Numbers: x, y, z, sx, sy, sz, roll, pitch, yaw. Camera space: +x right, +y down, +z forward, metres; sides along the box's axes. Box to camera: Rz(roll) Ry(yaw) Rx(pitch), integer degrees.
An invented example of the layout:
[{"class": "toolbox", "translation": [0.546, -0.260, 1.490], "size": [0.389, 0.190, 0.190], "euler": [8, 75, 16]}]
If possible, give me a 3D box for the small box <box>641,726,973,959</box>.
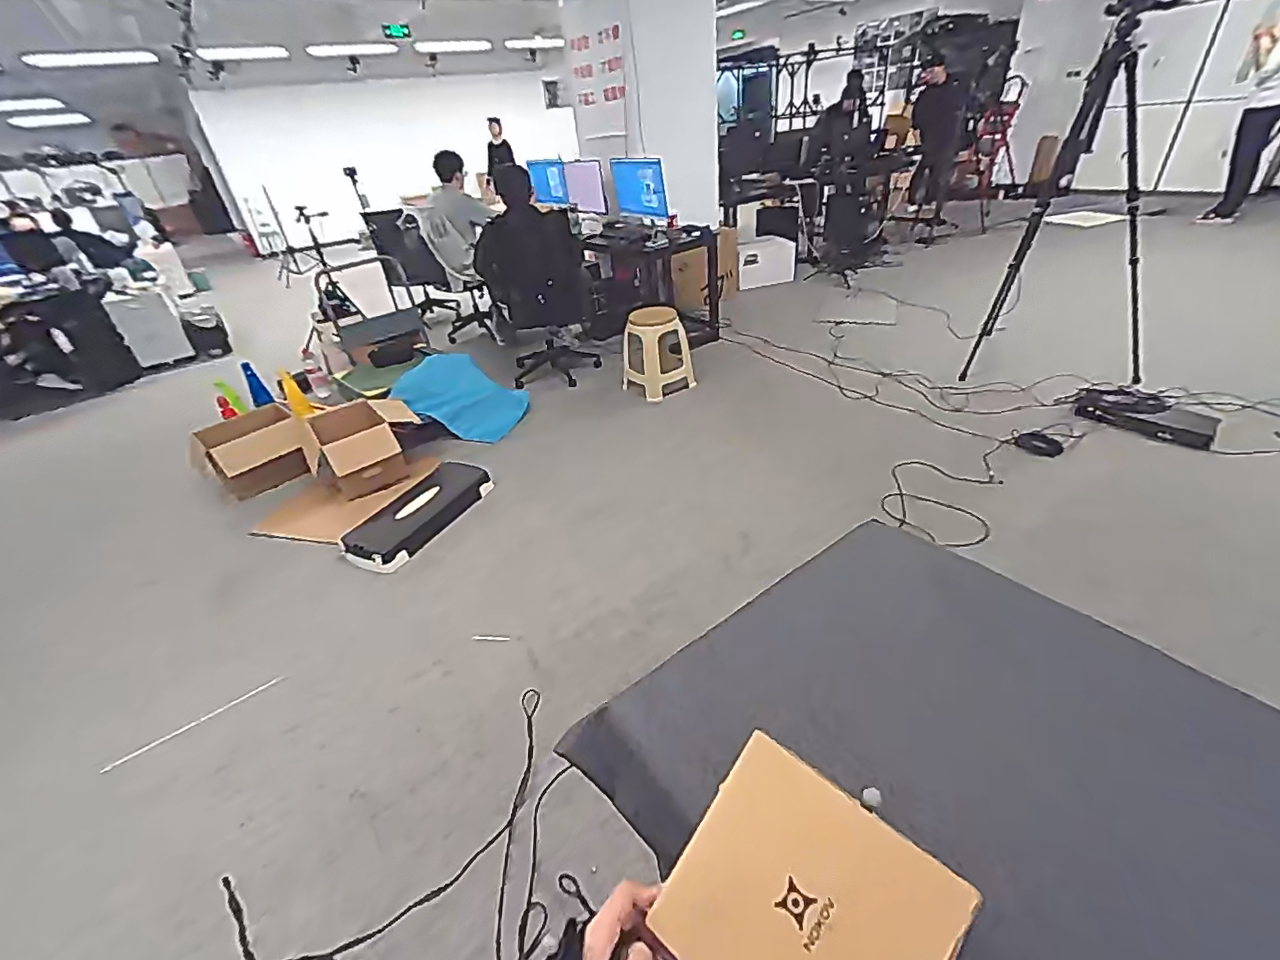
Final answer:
[{"class": "small box", "translation": [0.135, 0.339, 0.447], "size": [0.179, 0.176, 0.168], "euler": [27, 73, 32]}]
